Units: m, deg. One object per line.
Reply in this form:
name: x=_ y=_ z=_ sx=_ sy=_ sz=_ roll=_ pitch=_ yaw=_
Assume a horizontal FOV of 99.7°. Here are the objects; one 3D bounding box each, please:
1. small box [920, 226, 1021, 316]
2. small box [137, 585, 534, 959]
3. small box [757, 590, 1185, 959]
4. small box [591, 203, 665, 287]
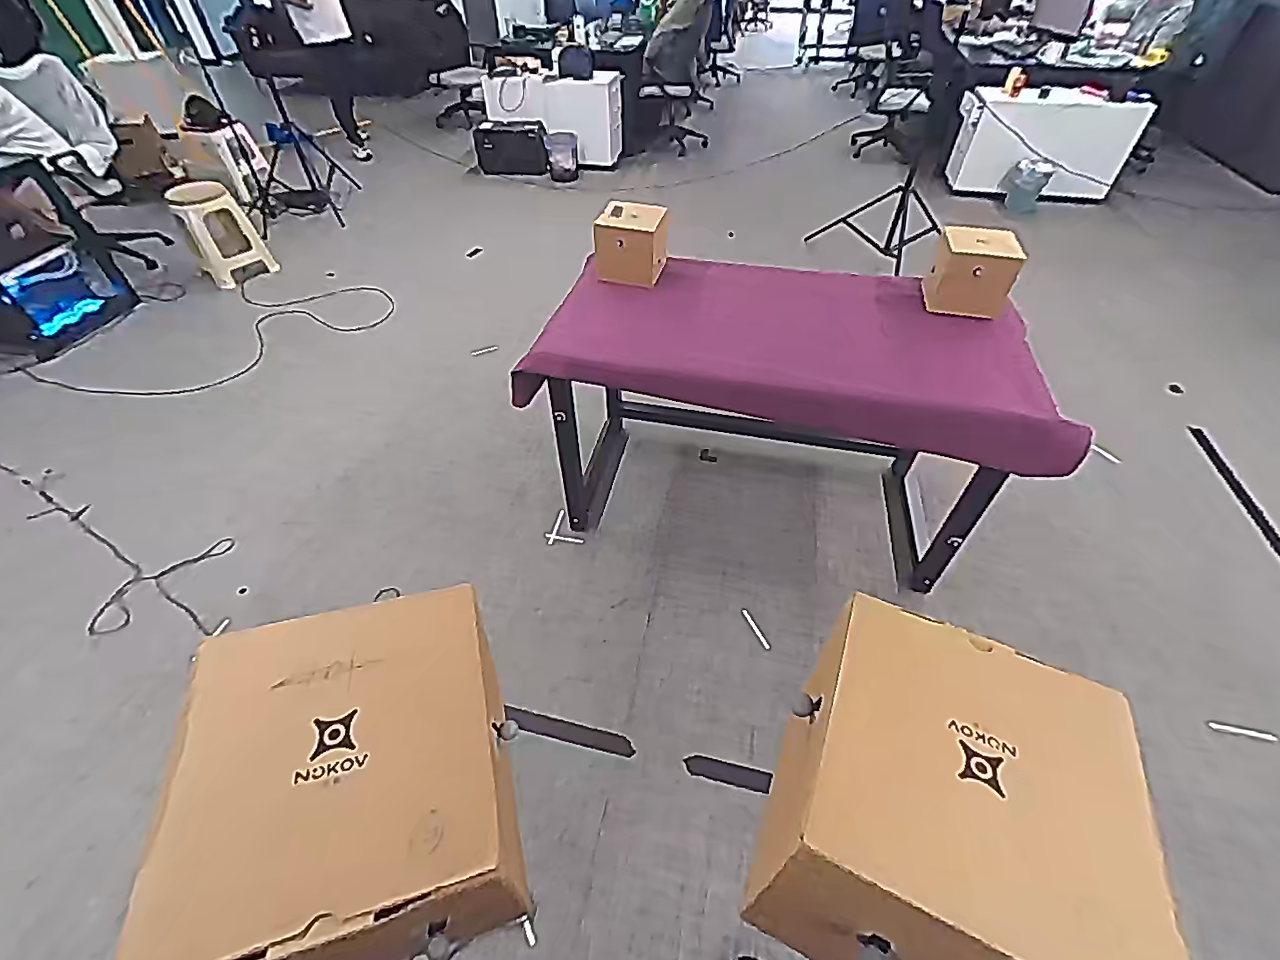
small box: x=0.874 y=-0.559 z=1.454 sx=0.179 sy=0.176 sz=0.168 roll=10 pitch=48 yaw=9
small box: x=-0.170 y=0.203 z=0.361 sx=0.168 sy=0.176 sz=0.179 roll=-10 pitch=47 yaw=-16
small box: x=0.185 y=0.213 z=0.353 sx=0.168 sy=0.176 sz=0.179 roll=20 pitch=42 yaw=17
small box: x=-0.031 y=-0.688 z=1.586 sx=0.179 sy=0.176 sz=0.168 roll=12 pitch=50 yaw=10
